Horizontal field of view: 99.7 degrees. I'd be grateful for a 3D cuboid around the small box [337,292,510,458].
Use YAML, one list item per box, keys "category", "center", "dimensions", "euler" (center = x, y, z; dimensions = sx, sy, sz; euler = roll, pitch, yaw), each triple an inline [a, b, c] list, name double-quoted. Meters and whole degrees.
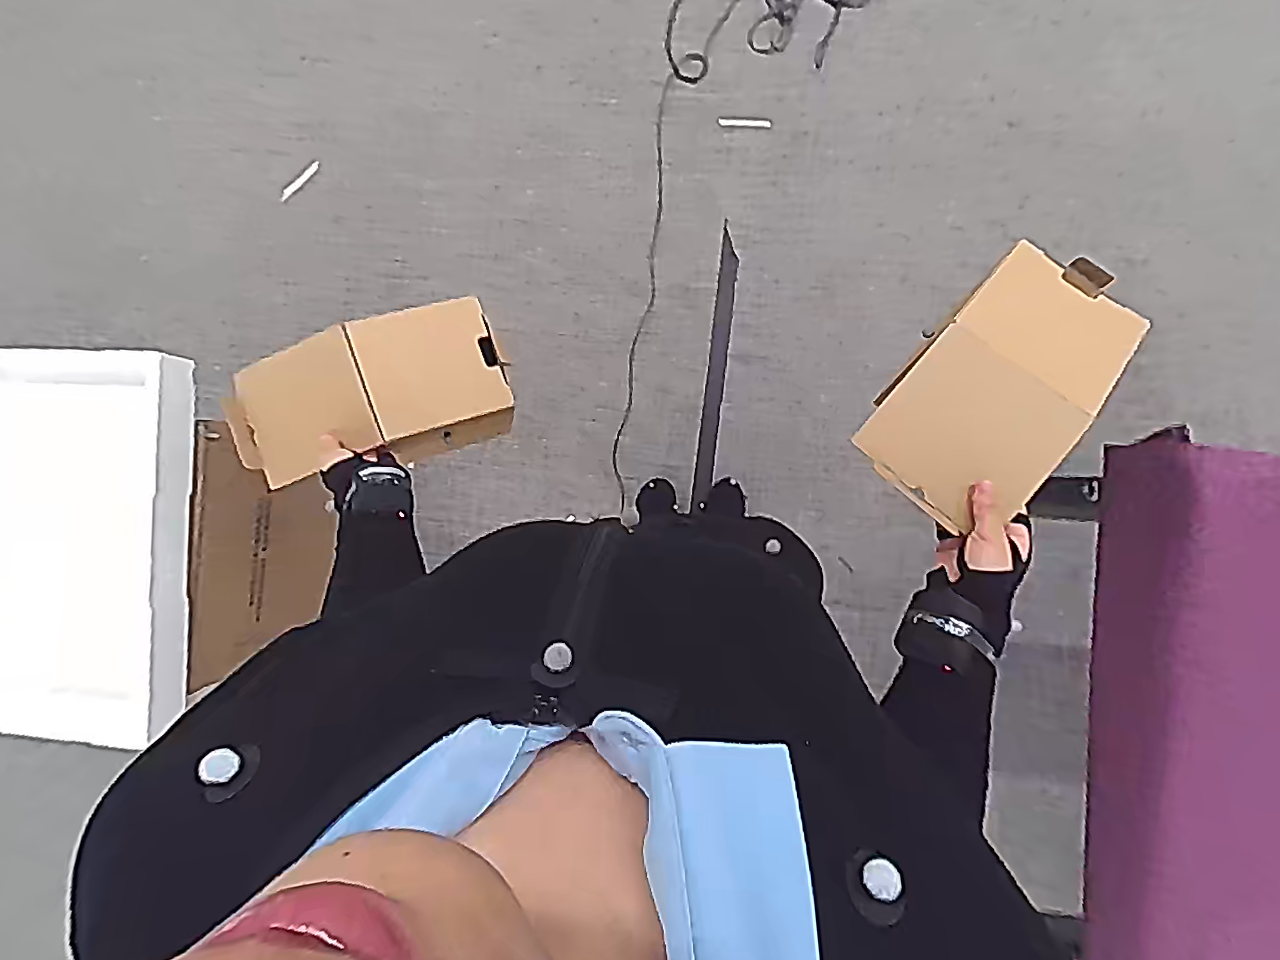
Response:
- category: "small box"
  center: [-0.297, -0.140, 0.772]
  dimensions: [0.179, 0.176, 0.168]
  euler: [-19, 89, -18]
